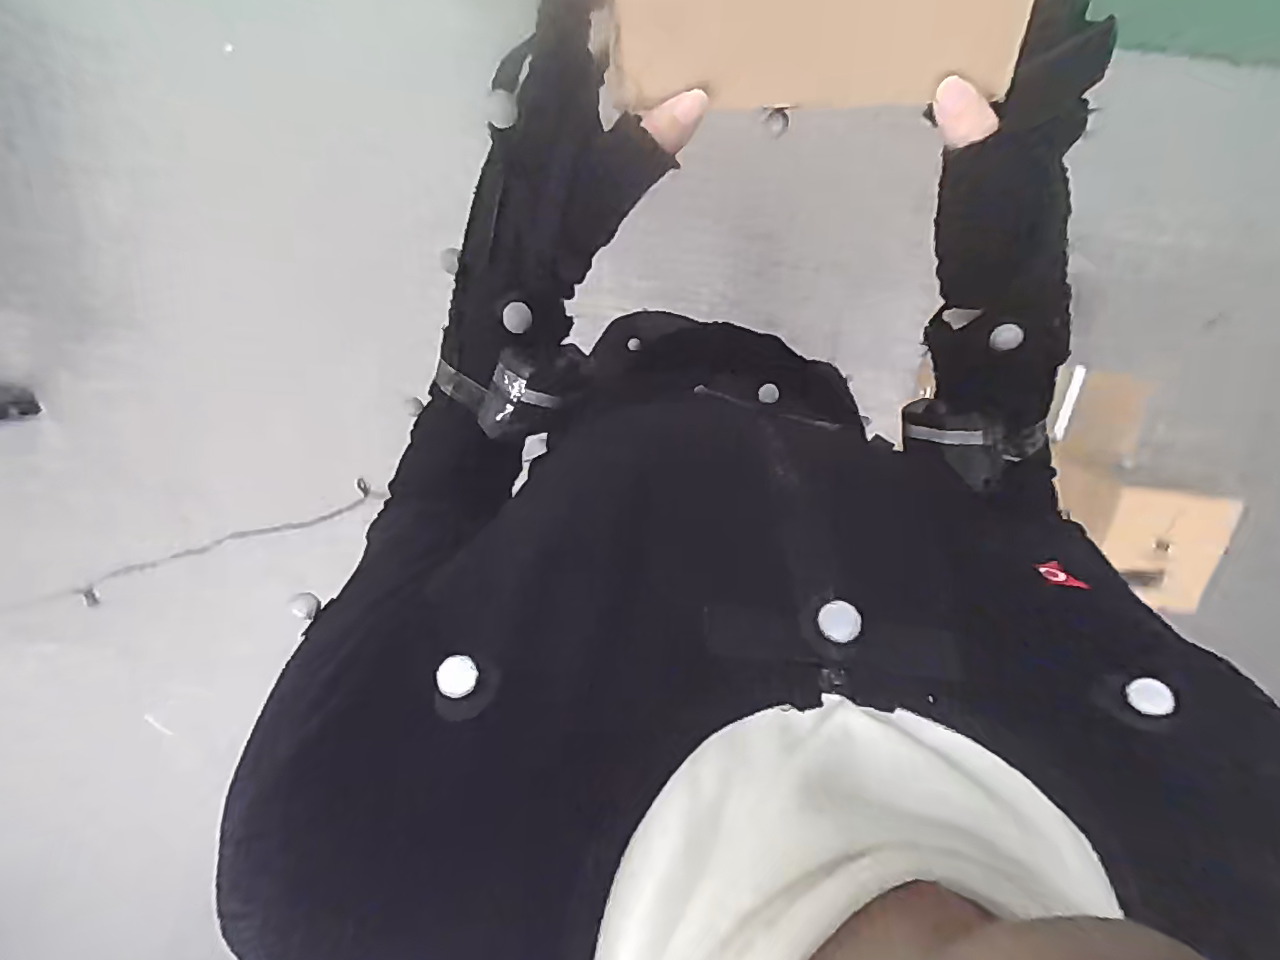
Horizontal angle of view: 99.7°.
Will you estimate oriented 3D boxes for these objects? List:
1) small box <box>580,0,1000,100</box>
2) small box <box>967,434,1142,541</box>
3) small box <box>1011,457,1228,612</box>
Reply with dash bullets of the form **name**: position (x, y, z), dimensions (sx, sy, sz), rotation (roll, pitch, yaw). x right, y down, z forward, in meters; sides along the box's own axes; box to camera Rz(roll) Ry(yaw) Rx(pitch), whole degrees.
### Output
- **small box**: position (0.061, -0.286, 0.258), dimensions (0.179, 0.176, 0.168), rotation (-2, 128, 1)
- **small box**: position (0.745, 0.018, 1.000), dimensions (0.179, 0.176, 0.168), rotation (7, 109, 3)
- **small box**: position (0.725, 0.079, 0.848), dimensions (0.168, 0.176, 0.179), rotation (6, 110, 3)
